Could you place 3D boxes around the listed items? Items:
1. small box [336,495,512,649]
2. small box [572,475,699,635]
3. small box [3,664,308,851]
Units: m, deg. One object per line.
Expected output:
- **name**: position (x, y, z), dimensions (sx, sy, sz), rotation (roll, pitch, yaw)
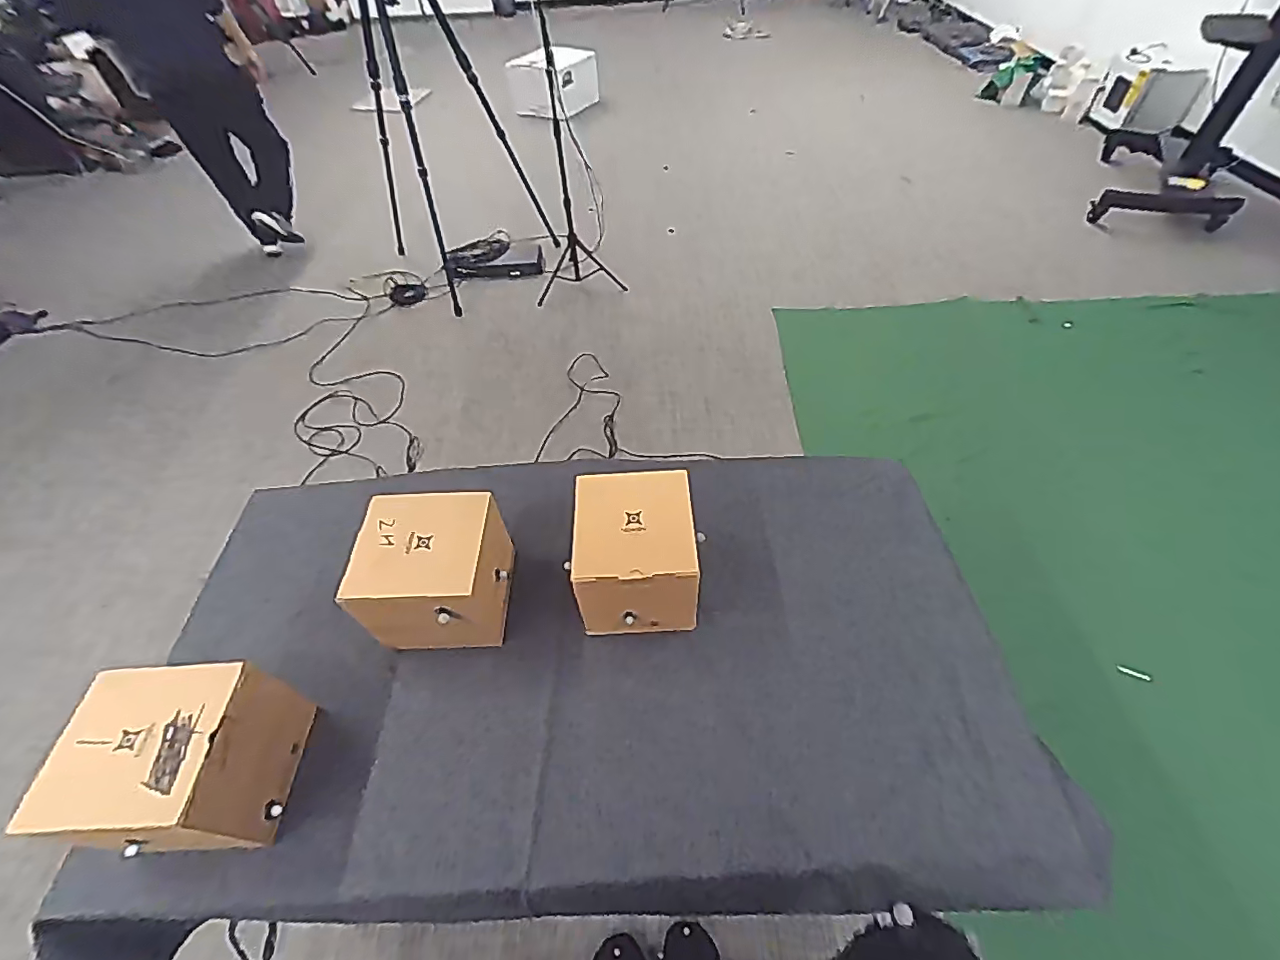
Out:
- **small box**: position (-0.295, 0.137, 0.791), dimensions (0.179, 0.176, 0.168), rotation (-1, 51, 1)
- **small box**: position (-0.007, 0.113, 0.805), dimensions (0.168, 0.176, 0.179), rotation (-3, 51, 0)
- **small box**: position (-0.539, 0.331, 0.641), dimensions (0.179, 0.176, 0.168), rotation (-3, 50, 0)
